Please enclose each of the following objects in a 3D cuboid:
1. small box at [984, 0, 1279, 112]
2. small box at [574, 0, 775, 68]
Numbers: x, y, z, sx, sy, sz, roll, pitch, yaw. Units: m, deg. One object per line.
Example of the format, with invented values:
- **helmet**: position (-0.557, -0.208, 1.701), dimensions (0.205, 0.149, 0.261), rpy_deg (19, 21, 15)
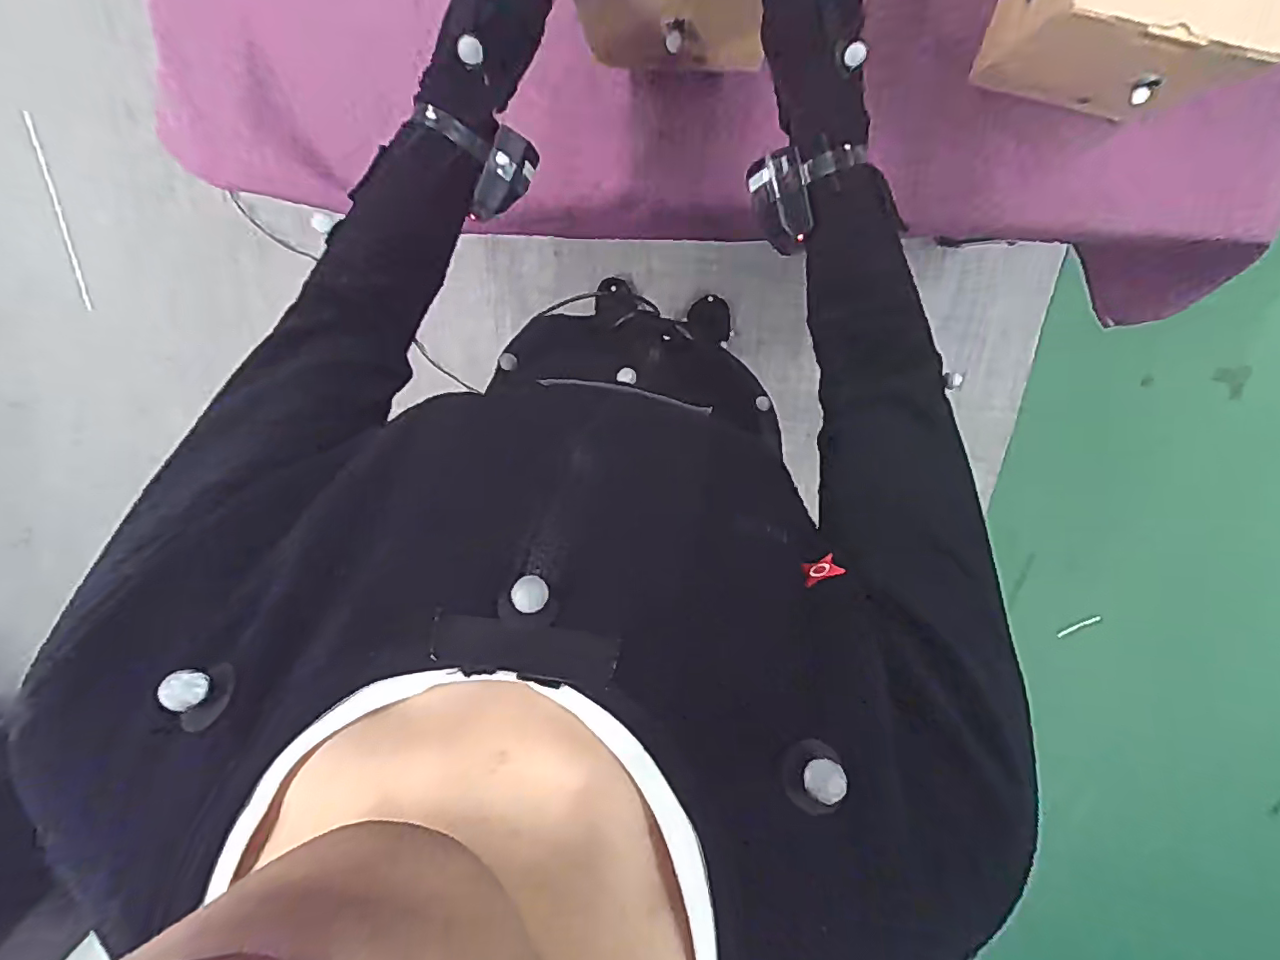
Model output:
- **small box**: position (0.418, -0.428, 0.433), dimensions (0.168, 0.176, 0.179), rpy_deg (15, 112, 1)
- **small box**: position (0.032, -0.463, 0.432), dimensions (0.168, 0.176, 0.179), rpy_deg (3, 106, 3)
